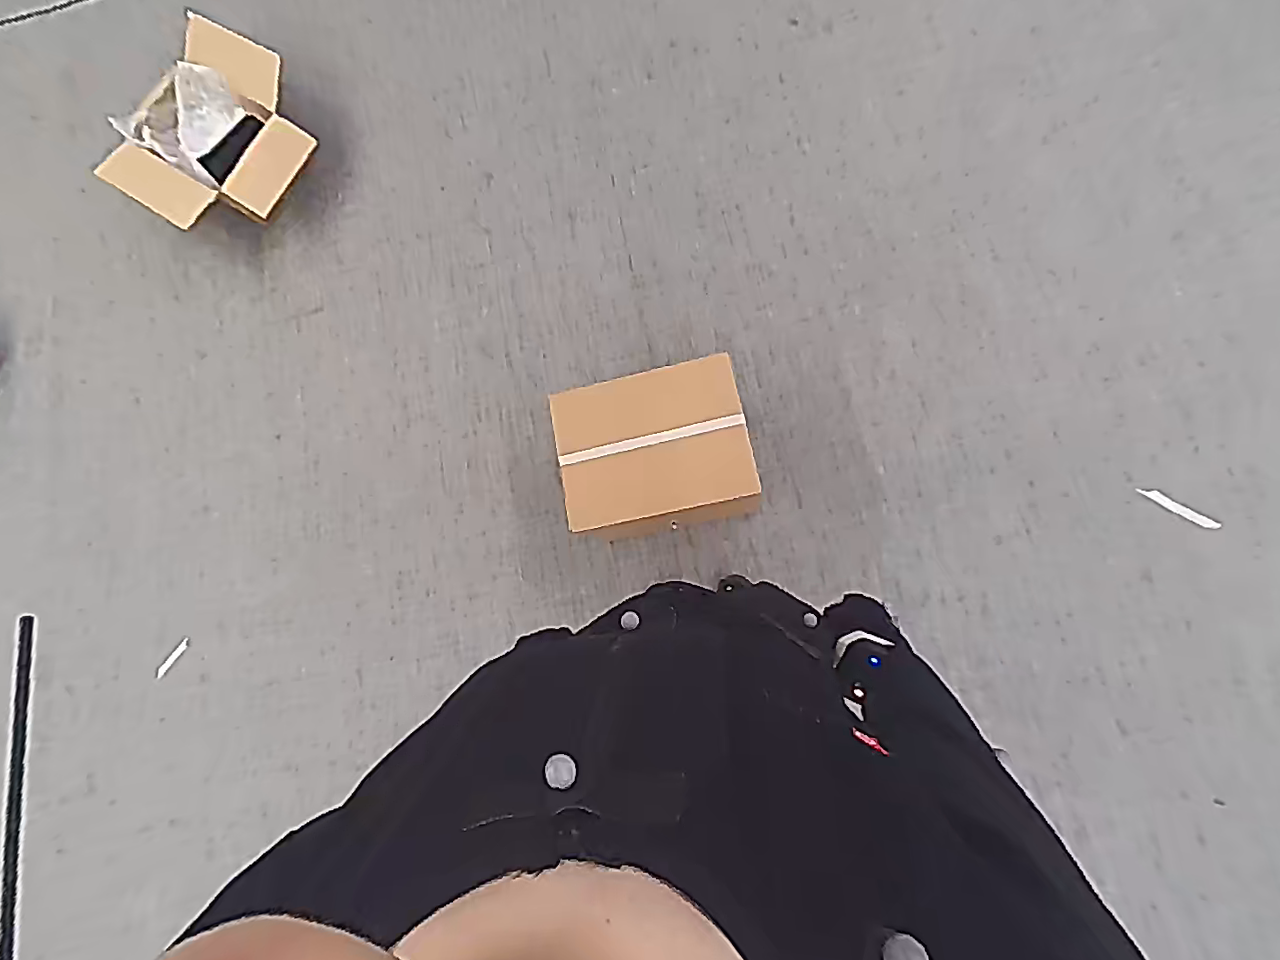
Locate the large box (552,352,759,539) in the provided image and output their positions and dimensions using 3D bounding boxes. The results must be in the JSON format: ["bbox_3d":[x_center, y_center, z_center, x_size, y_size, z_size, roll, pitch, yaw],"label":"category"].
[{"bbox_3d":[0.046,-0.057,1.291,0.408,0.320,0.320,-12,79,7],"label":"large box"}]
